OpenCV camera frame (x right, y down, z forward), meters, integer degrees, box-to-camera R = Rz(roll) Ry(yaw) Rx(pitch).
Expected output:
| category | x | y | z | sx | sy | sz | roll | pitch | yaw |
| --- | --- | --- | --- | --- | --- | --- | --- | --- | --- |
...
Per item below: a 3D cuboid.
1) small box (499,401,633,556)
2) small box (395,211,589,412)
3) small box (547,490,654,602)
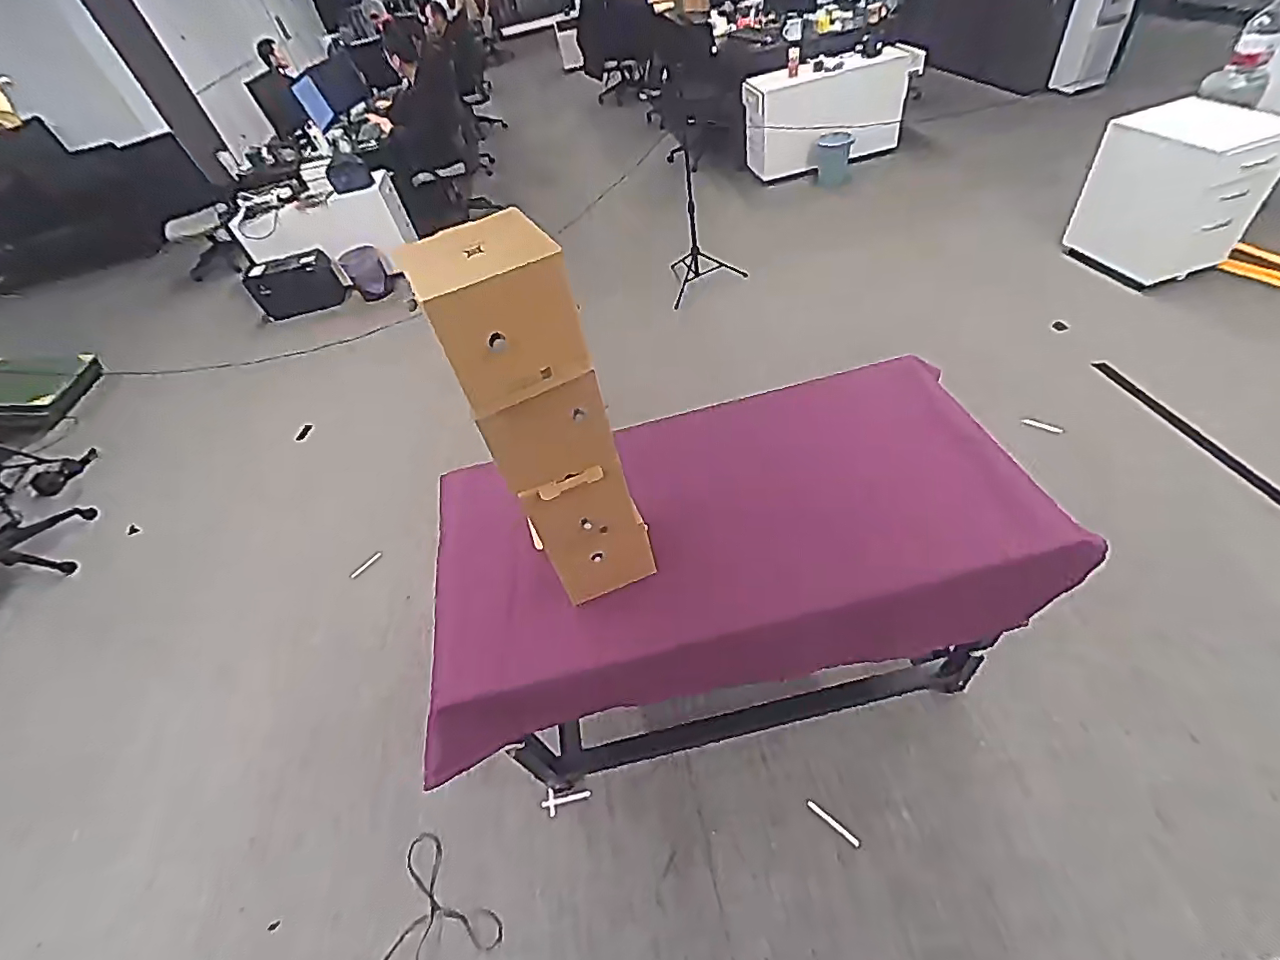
| category | x | y | z | sx | sy | sz | roll | pitch | yaw |
| --- | --- | --- | --- | --- | --- | --- | --- | --- | --- |
| small box | -0.125 | -0.001 | 0.937 | 0.168 | 0.176 | 0.179 | -23 | 47 | -7 |
| small box | -0.183 | -0.209 | 0.691 | 0.168 | 0.176 | 0.179 | -27 | 47 | -13 |
| small box | -0.089 | 0.110 | 1.054 | 0.179 | 0.176 | 0.168 | -21 | 47 | -8 |
